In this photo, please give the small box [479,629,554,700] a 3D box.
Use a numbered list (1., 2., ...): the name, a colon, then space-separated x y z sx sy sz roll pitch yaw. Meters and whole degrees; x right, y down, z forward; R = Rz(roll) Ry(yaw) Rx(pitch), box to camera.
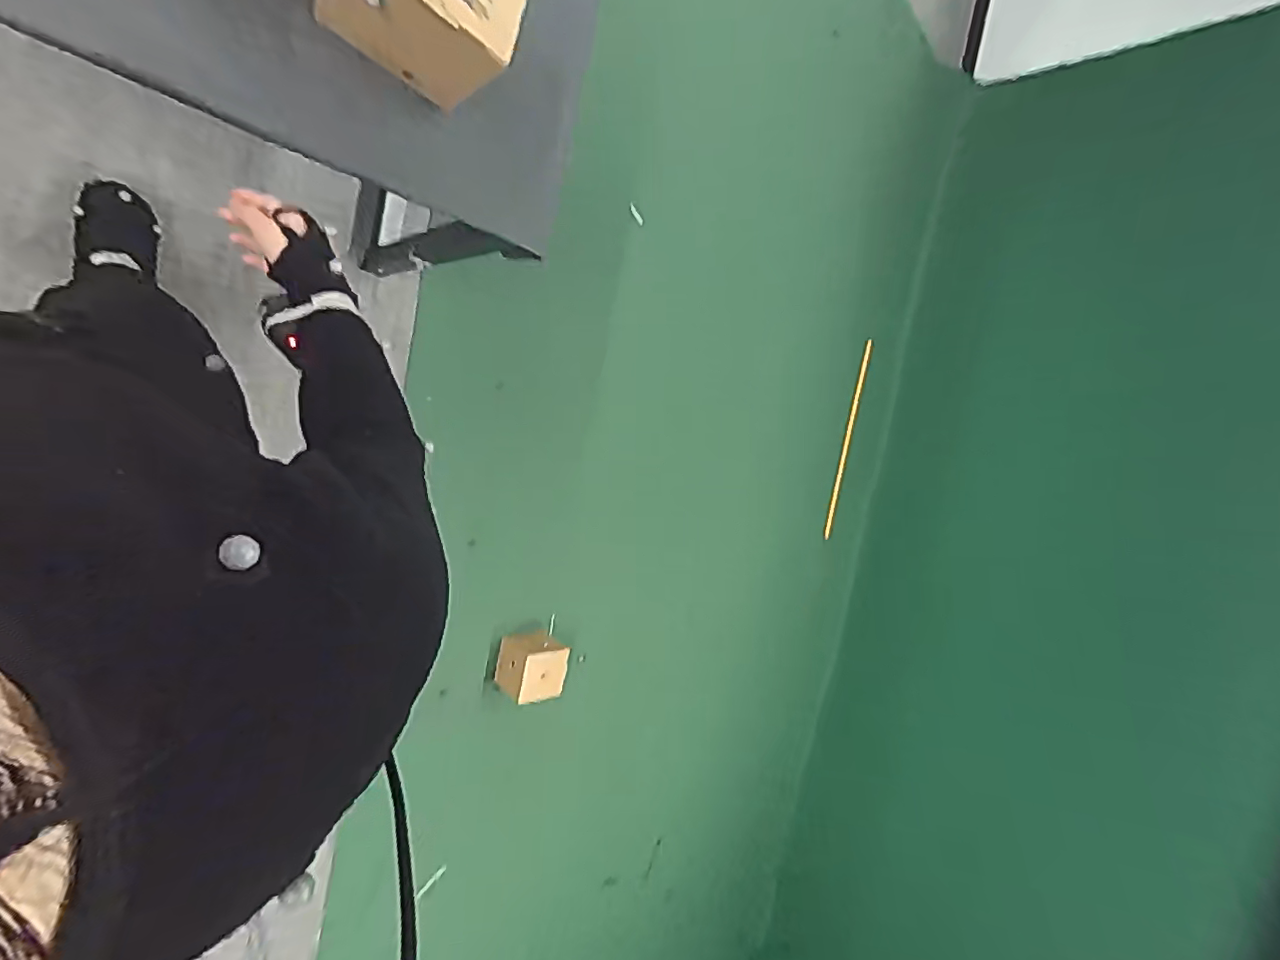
1. small box: -0.427 0.624 1.848 0.179 0.176 0.168 8 96 -47
